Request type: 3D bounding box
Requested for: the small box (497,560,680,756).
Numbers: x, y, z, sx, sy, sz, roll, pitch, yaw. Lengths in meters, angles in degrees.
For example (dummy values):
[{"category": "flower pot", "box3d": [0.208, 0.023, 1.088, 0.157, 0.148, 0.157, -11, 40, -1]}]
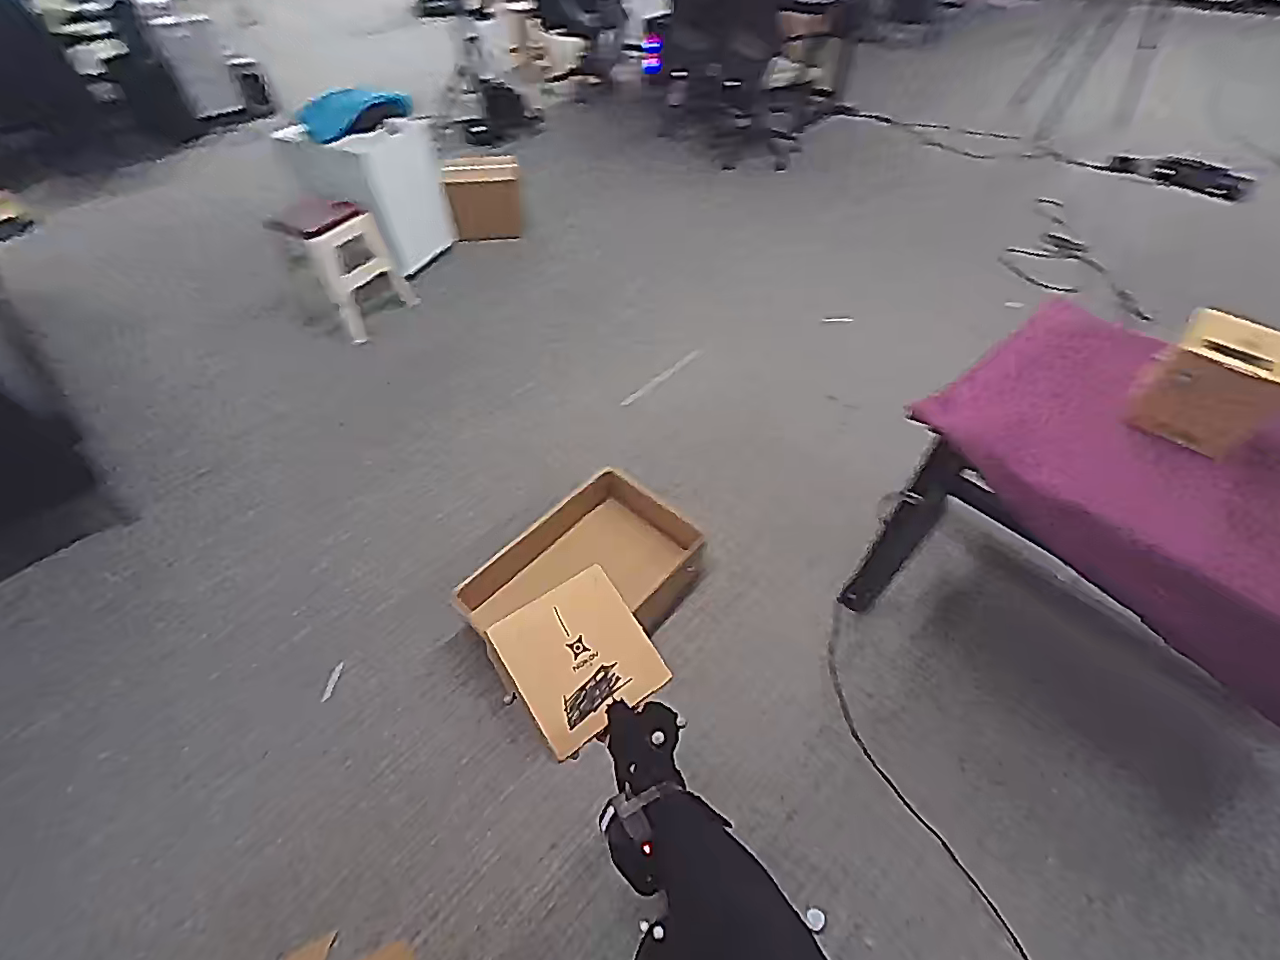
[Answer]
[{"category": "small box", "box3d": [-0.076, 0.240, 0.722, 0.168, 0.176, 0.179, -27, 71, -25]}]
